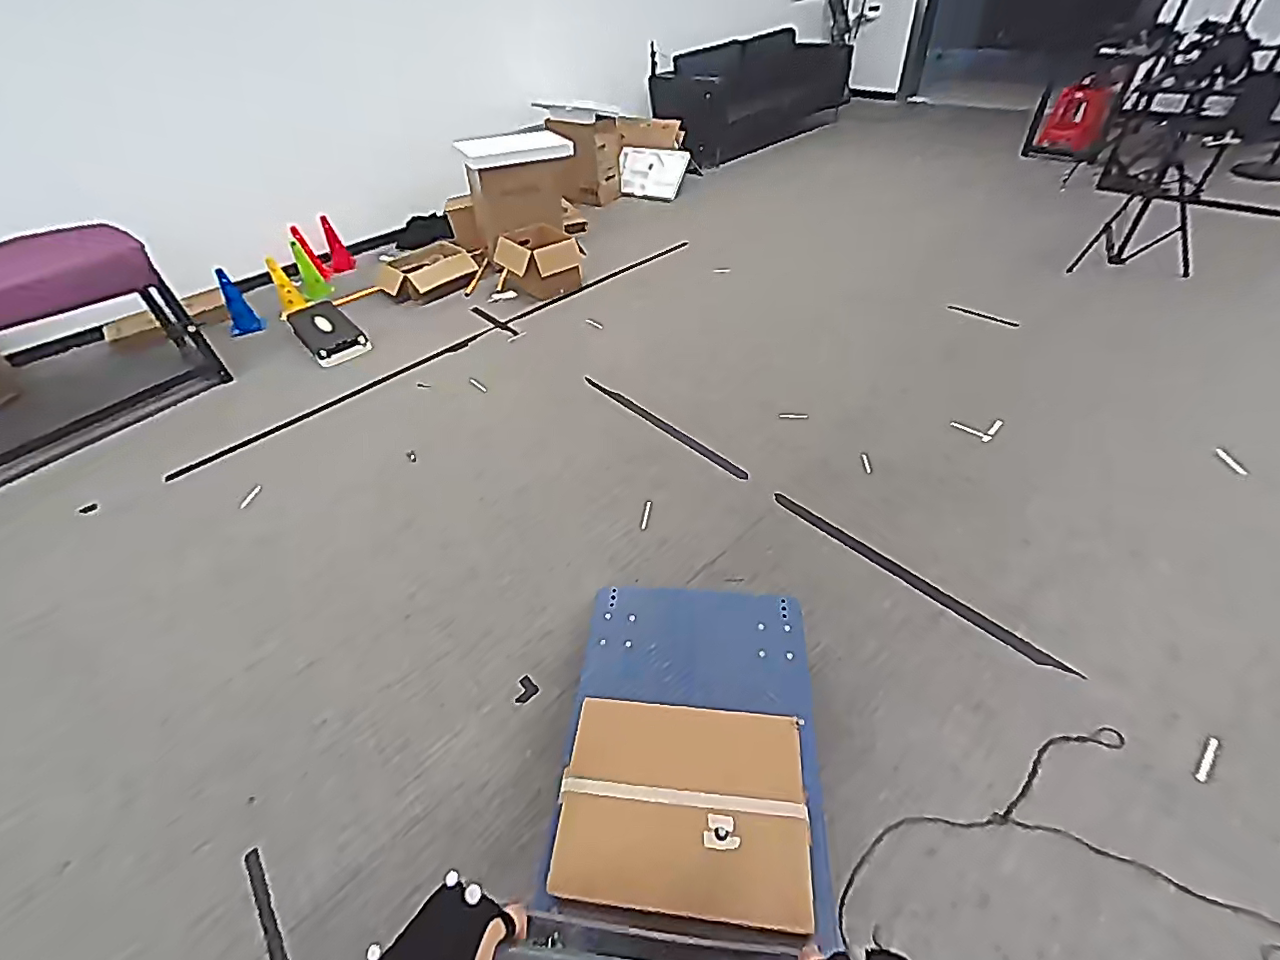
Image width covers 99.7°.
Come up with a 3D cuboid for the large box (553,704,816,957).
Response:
[{"bbox_3d":[0.083,0.651,1.013,0.408,0.320,0.320,3,45,7],"label":"large box"}]
